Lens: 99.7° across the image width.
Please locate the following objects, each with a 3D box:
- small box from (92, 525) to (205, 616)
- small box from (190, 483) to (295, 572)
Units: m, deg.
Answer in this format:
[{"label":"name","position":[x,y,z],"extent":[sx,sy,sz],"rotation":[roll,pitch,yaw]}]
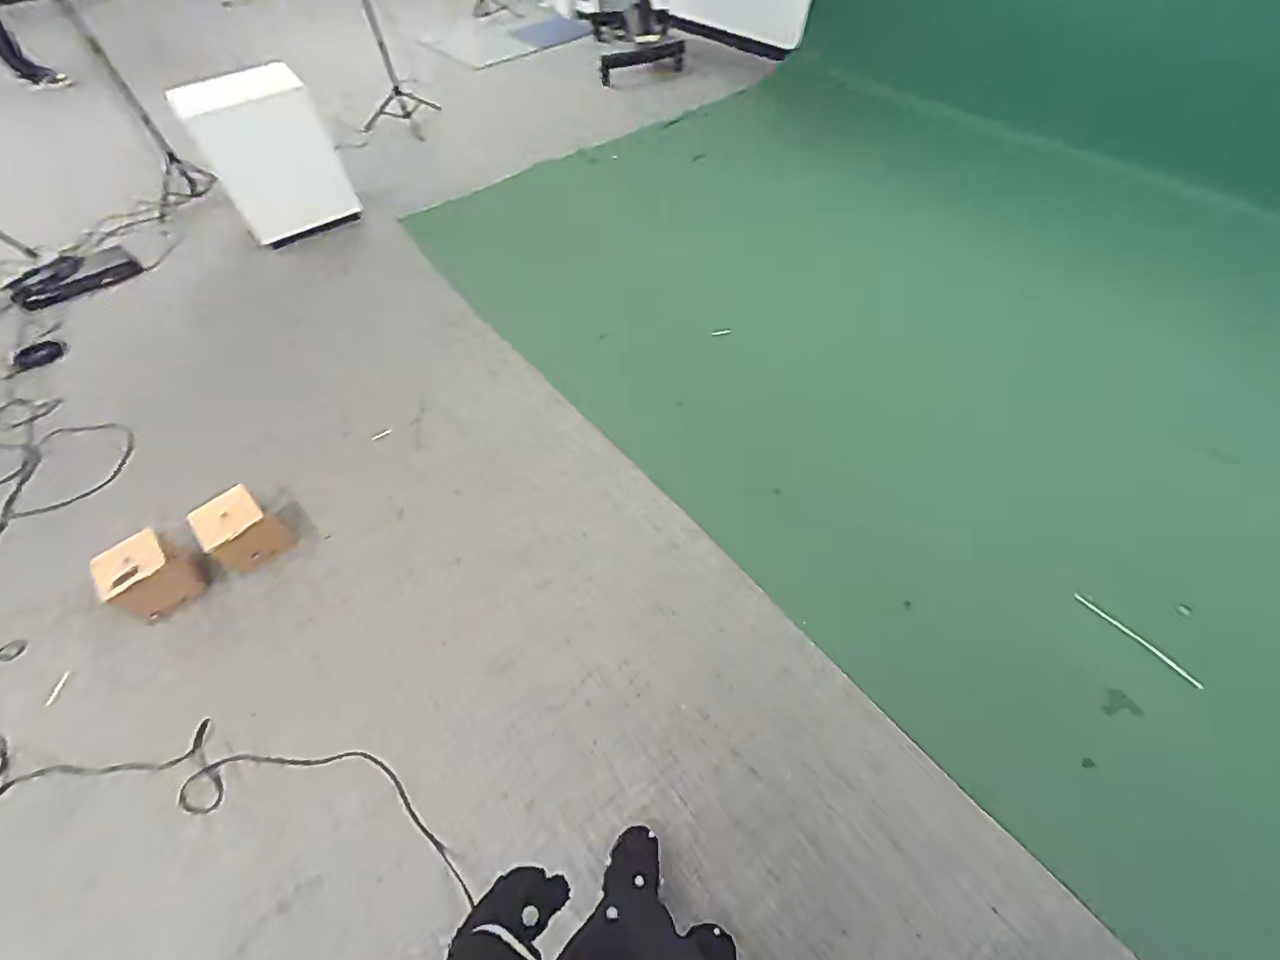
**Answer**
[{"label":"small box","position":[-1.408,0.270,1.560],"extent":[0.168,0.176,0.179],"rotation":[-36,60,-21]},{"label":"small box","position":[-1.199,0.148,1.639],"extent":[0.168,0.176,0.179],"rotation":[-39,63,-22]}]
